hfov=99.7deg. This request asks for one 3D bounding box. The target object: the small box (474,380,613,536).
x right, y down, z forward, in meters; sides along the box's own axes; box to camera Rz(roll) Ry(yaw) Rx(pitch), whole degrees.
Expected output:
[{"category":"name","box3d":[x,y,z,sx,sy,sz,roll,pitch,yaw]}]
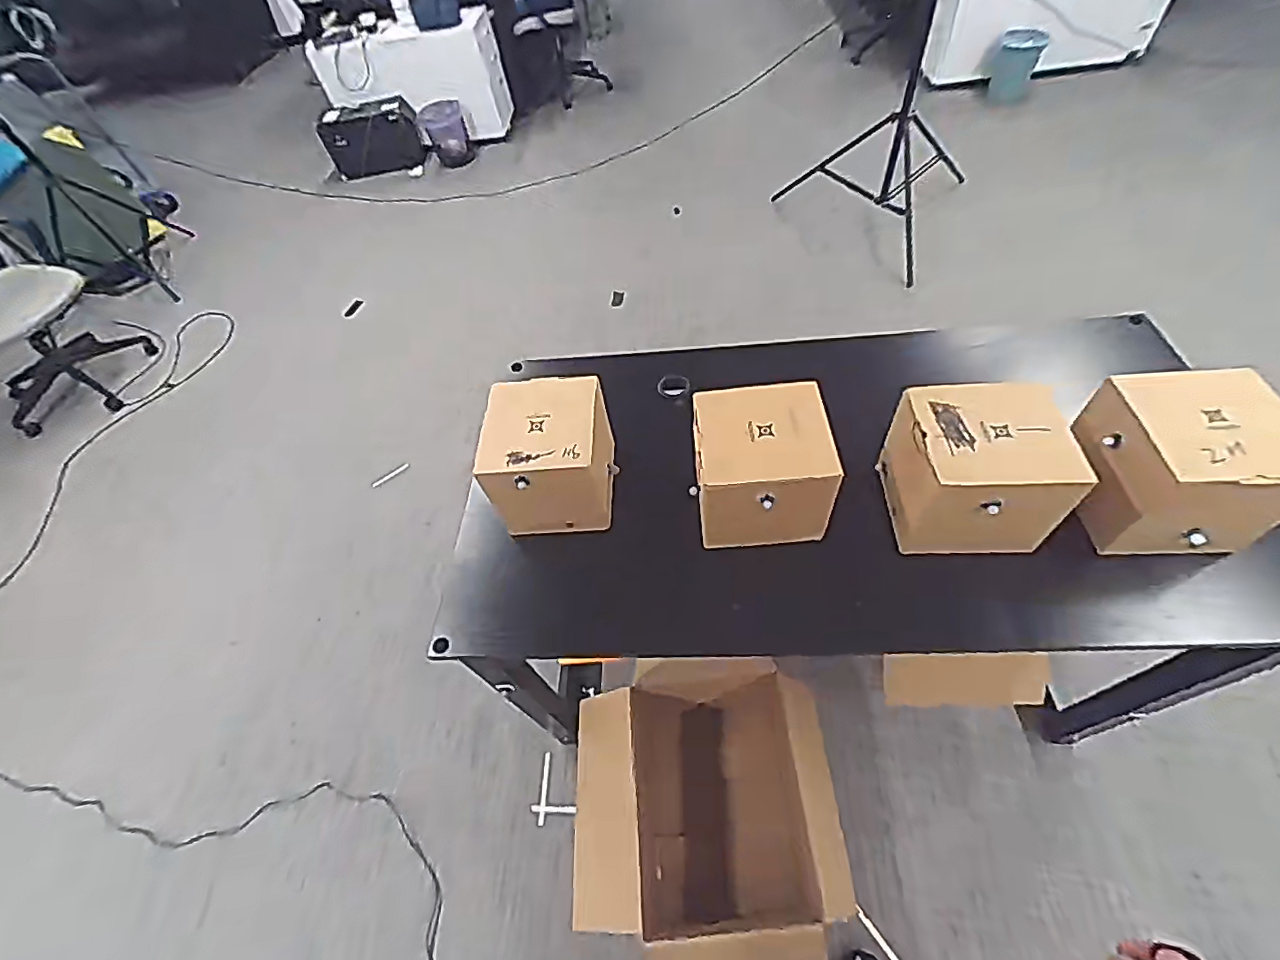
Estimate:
[{"category":"small box","box3d":[-0.135,-0.031,0.836,0.168,0.176,0.179,-3,53,5]}]

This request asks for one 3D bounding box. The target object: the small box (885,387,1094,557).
[{"category":"small box","box3d":[0.446,-0.006,0.733,0.179,0.176,0.168,-1,53,8]}]

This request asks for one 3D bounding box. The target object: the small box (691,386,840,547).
[{"category":"small box","box3d":[0.170,-0.013,0.781,0.179,0.176,0.168,-5,54,4]}]

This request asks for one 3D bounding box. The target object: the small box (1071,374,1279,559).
[{"category":"small box","box3d":[0.689,-0.014,0.702,0.168,0.176,0.179,-2,53,9]}]
